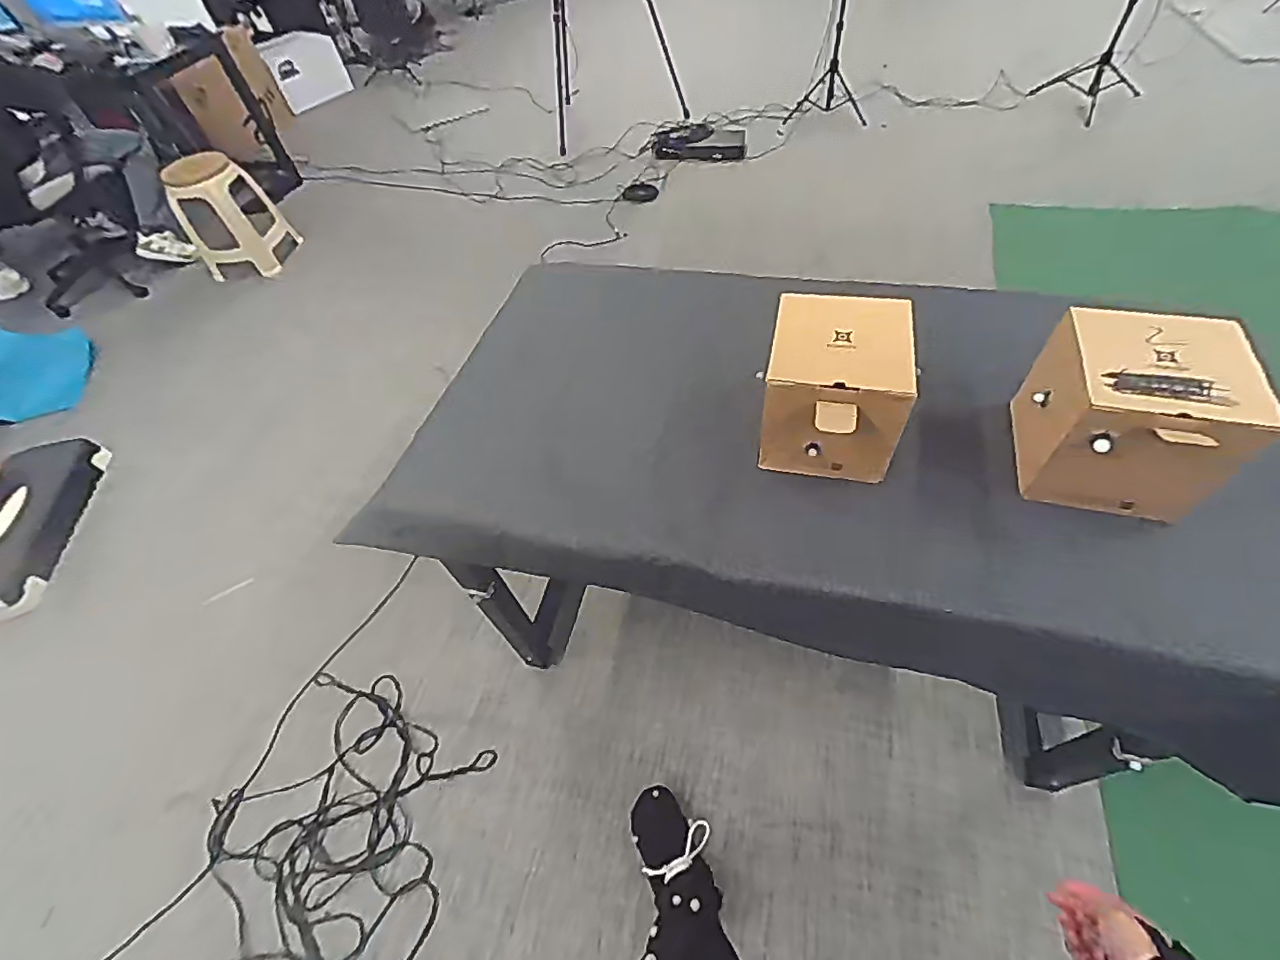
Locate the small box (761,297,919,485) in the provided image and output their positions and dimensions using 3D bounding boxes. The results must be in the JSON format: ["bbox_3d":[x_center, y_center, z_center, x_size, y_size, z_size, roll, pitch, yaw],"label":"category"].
[{"bbox_3d":[0.259,-0.119,0.728,0.168,0.176,0.179,8,55,13],"label":"small box"}]
